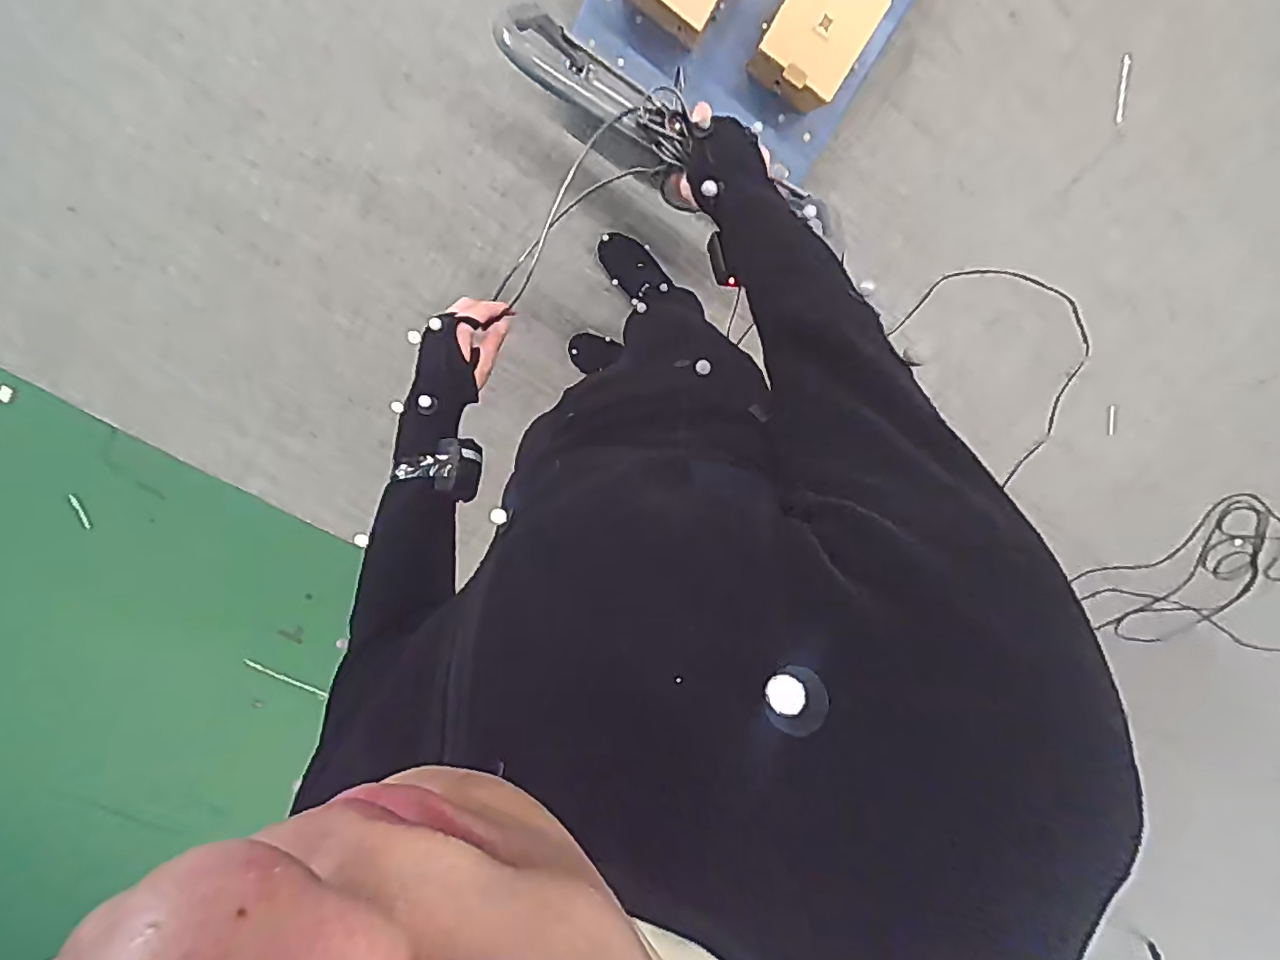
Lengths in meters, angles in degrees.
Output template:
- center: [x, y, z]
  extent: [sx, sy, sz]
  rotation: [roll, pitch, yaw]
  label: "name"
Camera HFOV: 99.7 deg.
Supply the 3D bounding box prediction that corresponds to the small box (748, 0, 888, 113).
- center: [0.326, -0.845, 1.035]
  extent: [0.168, 0.176, 0.179]
  rotation: [28, 116, -13]
  label: "small box"
